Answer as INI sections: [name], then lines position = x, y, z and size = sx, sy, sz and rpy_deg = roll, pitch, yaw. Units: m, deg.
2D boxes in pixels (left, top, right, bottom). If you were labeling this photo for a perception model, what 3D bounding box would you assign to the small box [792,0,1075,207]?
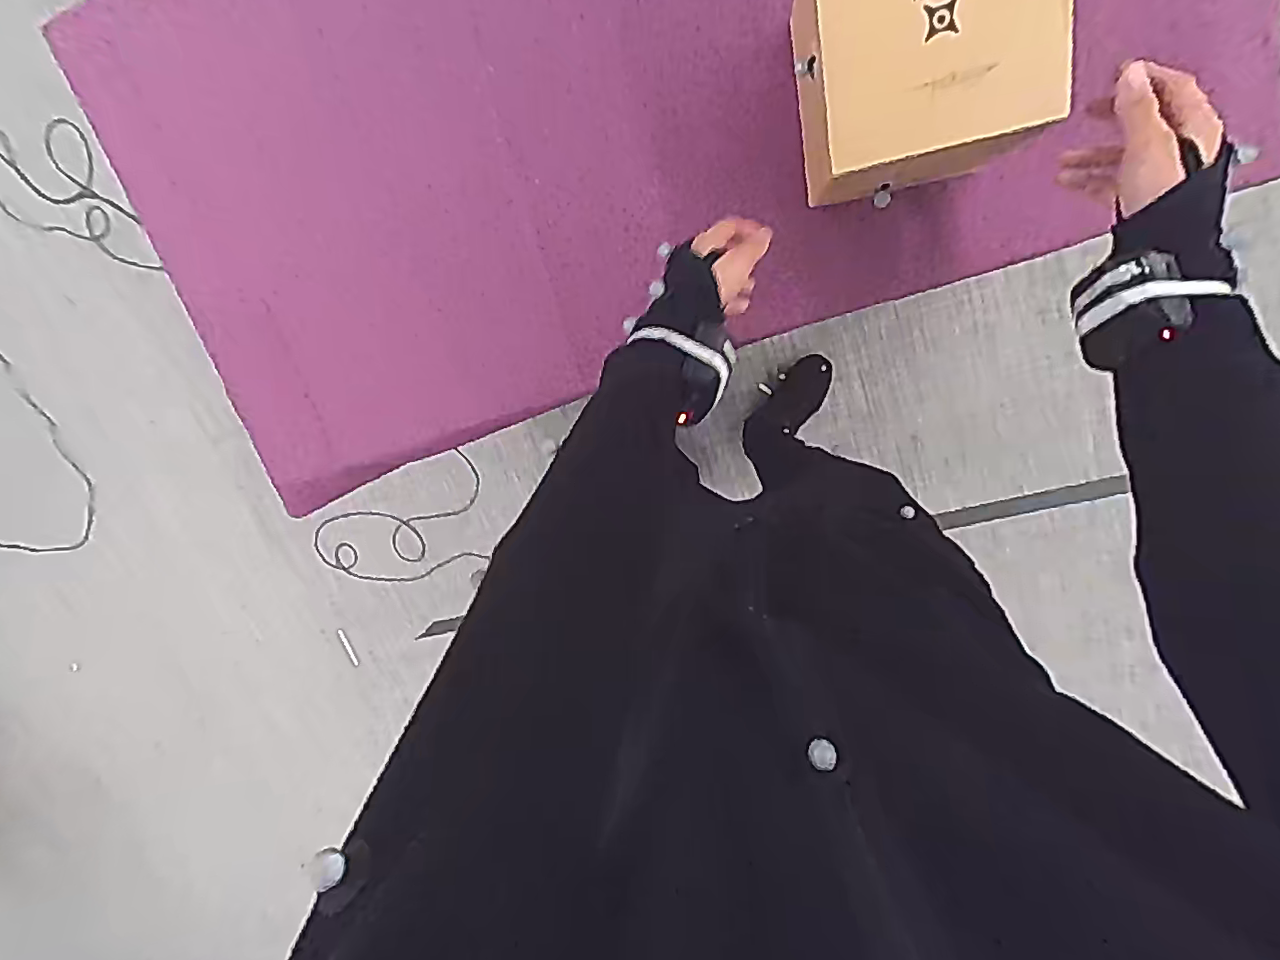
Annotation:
[small box]
position = 0.224, -0.352, 0.452
size = 0.168, 0.176, 0.179
rpy_deg = -7, 106, 13
